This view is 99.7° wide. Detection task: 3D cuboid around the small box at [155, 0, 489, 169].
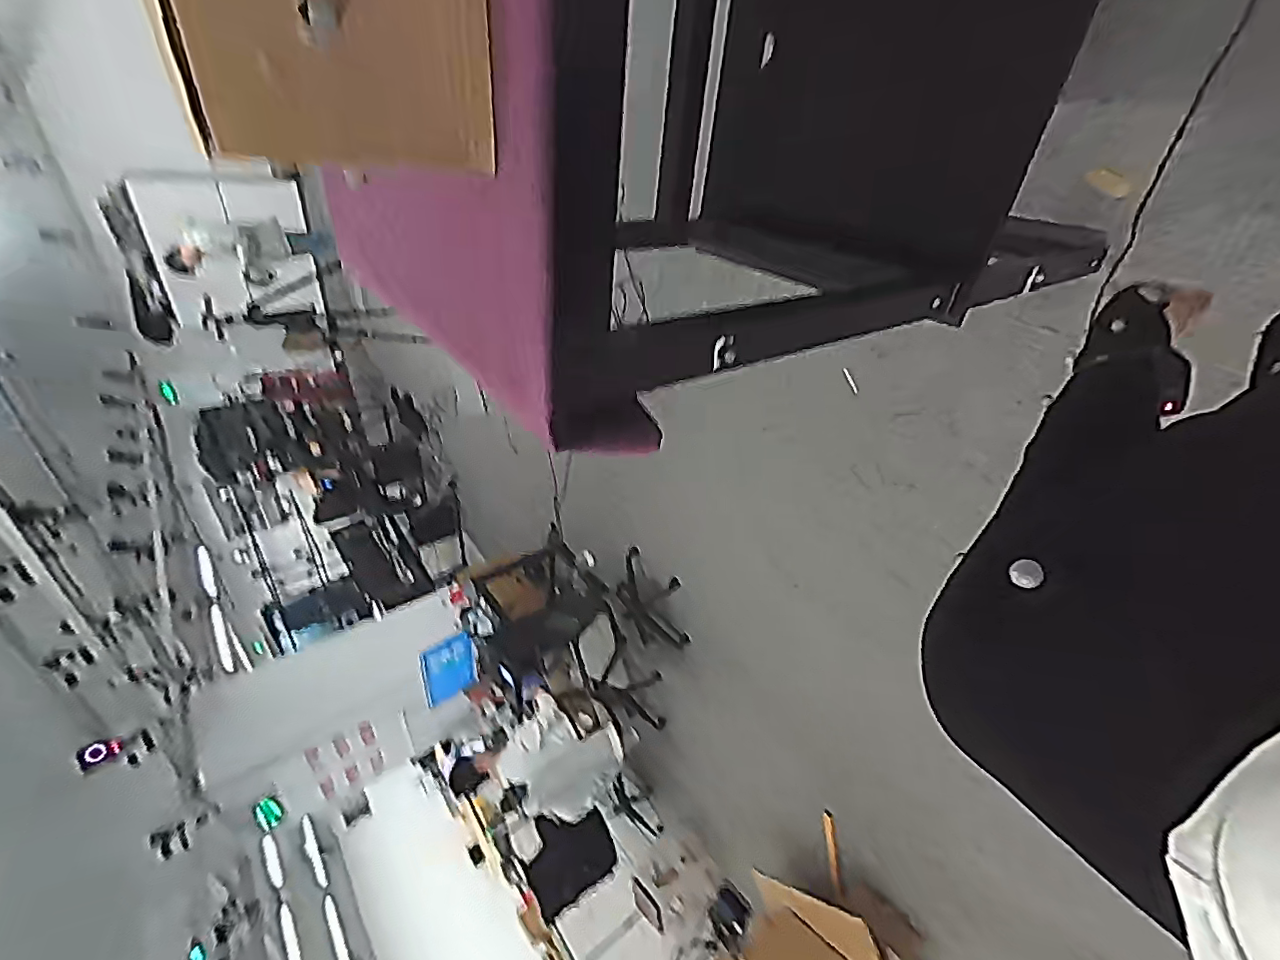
[{"bbox_3d":[-0.208,-0.308,0.350,0.168,0.176,0.179,37,135,40],"label":"small box"}]
